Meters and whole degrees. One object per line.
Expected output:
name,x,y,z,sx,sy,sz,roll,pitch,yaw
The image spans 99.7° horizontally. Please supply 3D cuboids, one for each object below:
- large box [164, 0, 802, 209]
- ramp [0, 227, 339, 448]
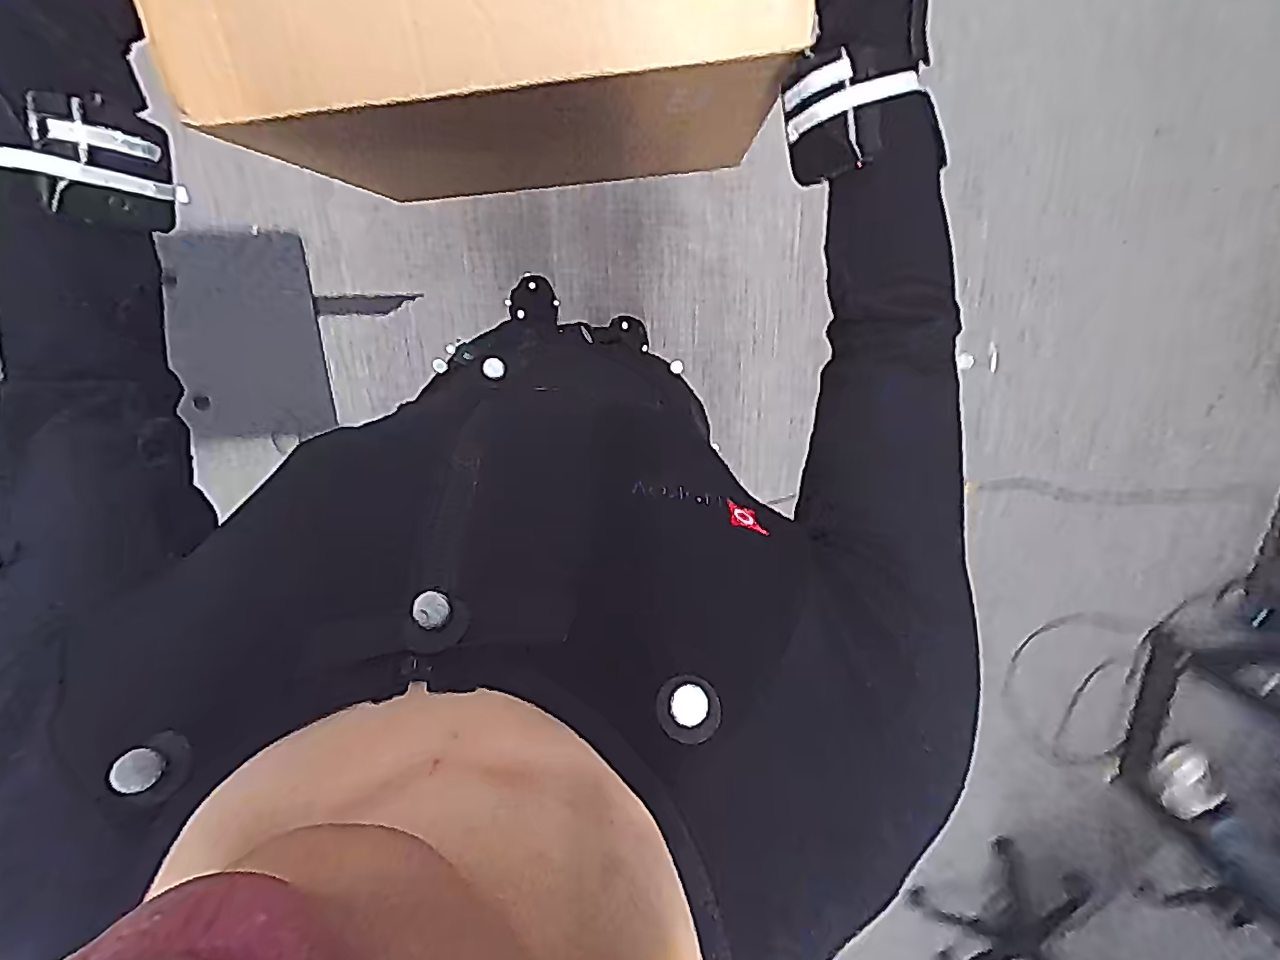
large box,-0.111,-0.445,0.449,0.408,0.320,0.320,-6,108,3
ramp,-1.294,-0.332,1.277,0.991,0.206,0.509,-3,106,-1
